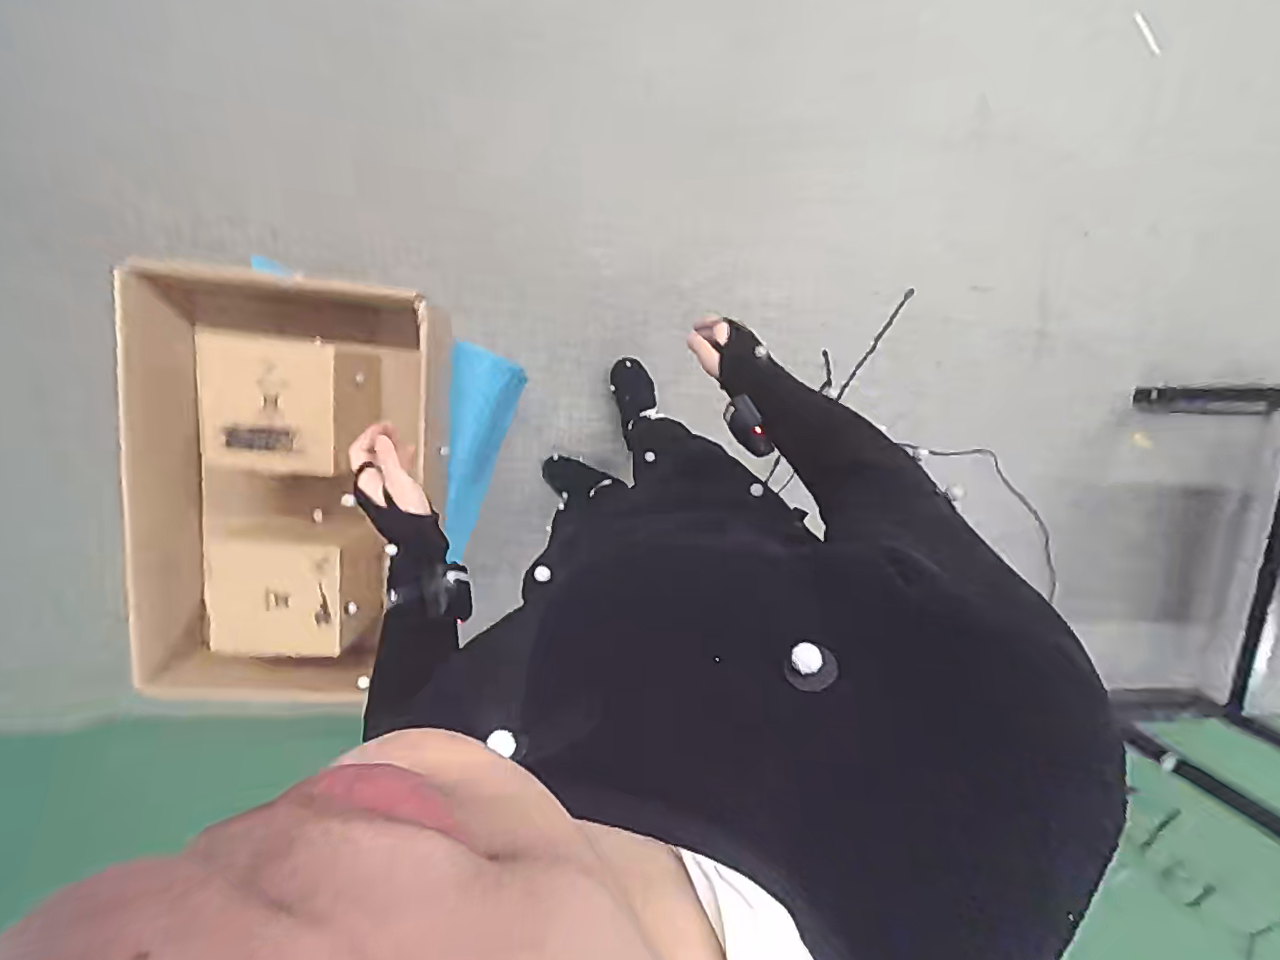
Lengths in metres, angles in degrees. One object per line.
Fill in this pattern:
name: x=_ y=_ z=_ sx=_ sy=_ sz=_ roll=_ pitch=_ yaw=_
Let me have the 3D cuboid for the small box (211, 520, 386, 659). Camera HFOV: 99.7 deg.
small box: x=-0.519 y=0.160 z=0.842 sx=0.179 sy=0.176 sz=0.168 roll=4 pitch=98 yaw=-5
